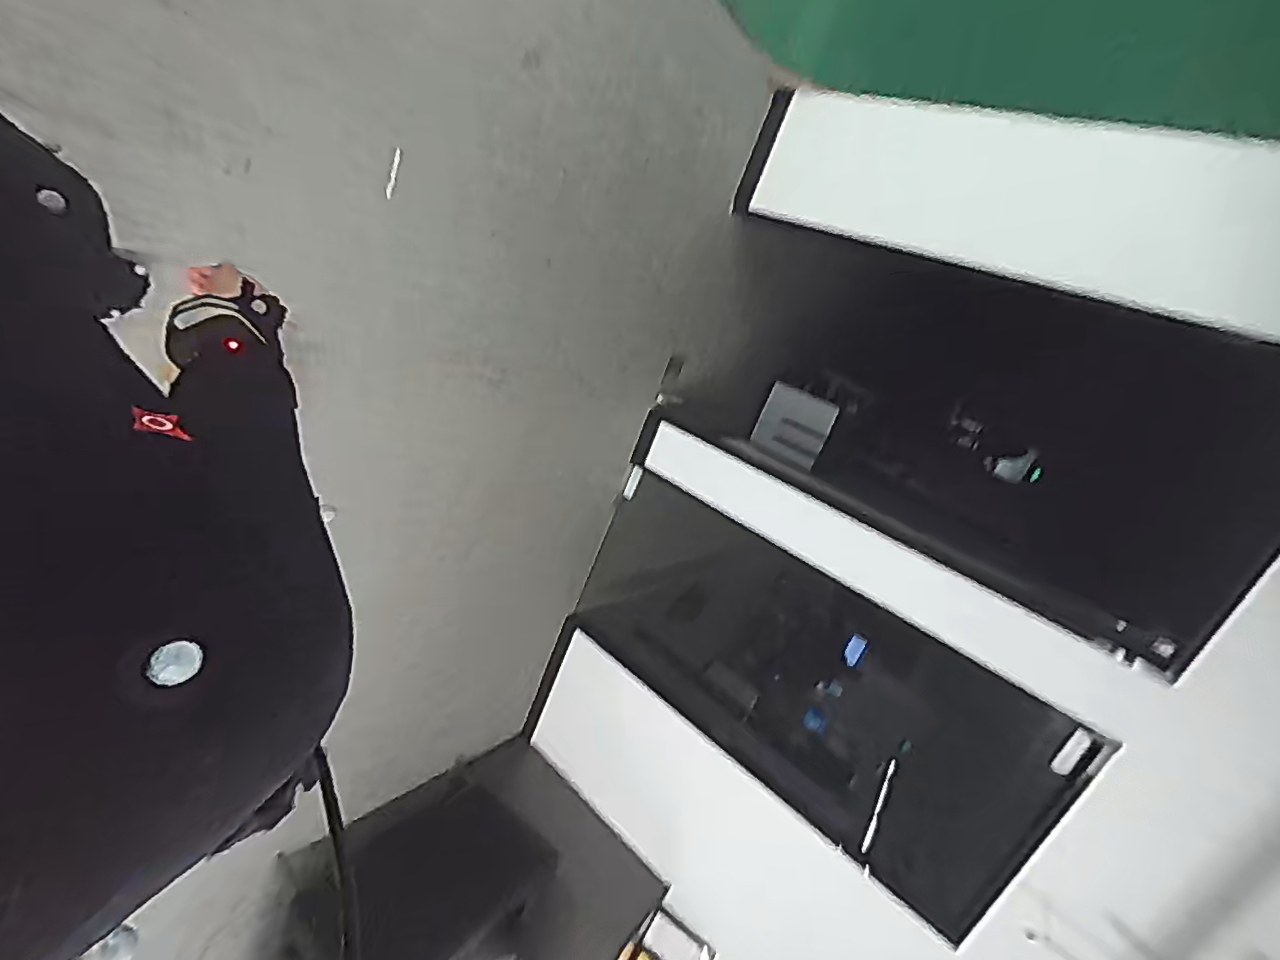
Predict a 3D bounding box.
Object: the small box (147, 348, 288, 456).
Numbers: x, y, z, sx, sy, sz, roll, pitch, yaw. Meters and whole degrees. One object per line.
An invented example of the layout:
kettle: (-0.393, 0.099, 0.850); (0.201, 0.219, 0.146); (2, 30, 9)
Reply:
small box: (-0.875, -0.160, 1.121); (0.179, 0.176, 0.168); (-3, 120, -56)
